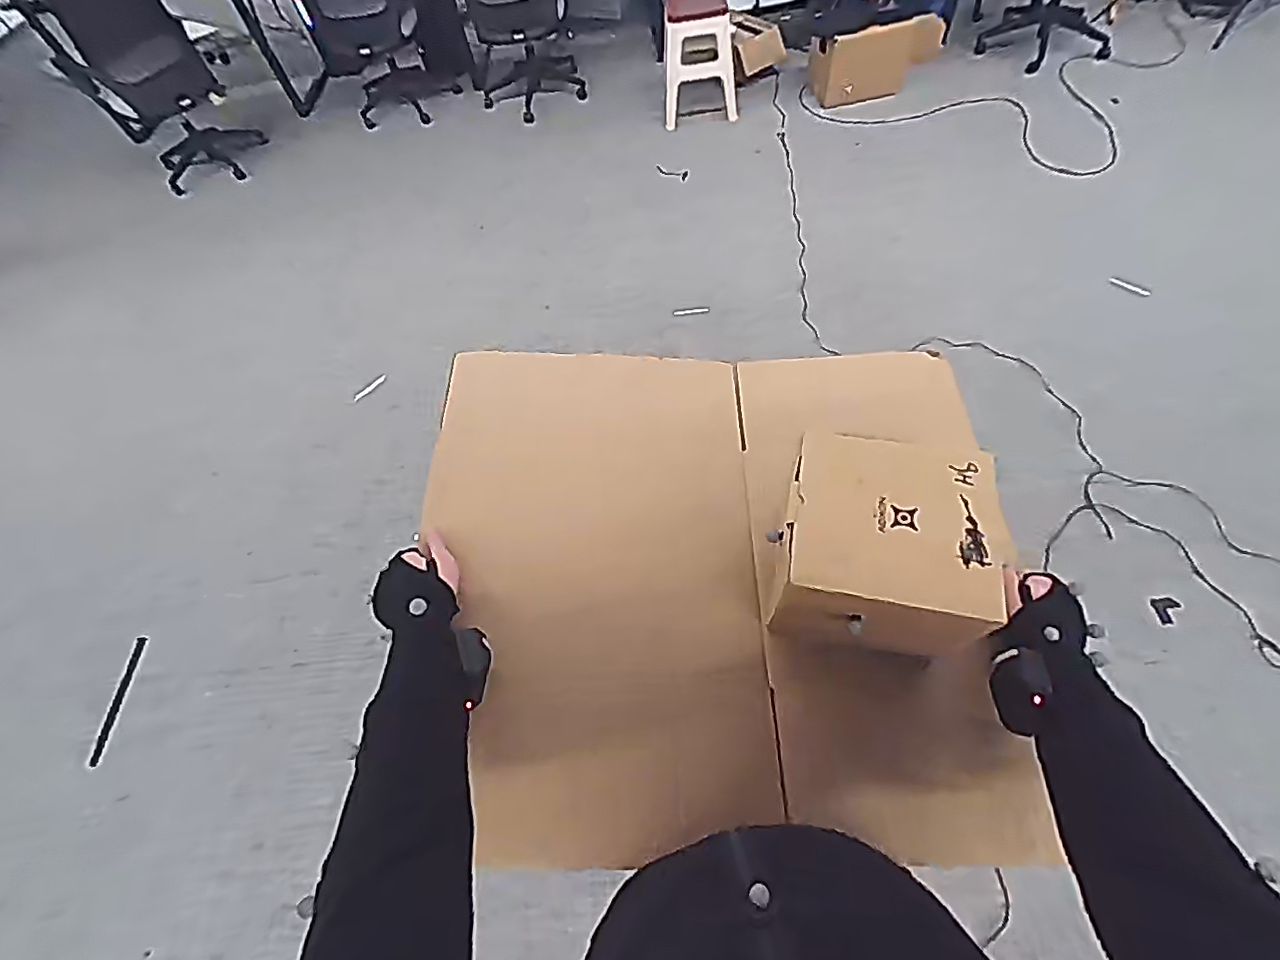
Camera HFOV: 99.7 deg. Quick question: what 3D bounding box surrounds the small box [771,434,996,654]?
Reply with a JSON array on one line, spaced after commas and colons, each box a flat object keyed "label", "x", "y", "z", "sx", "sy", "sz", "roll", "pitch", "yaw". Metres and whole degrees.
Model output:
[{"label": "small box", "x": 0.237, "y": 0.073, "z": 0.566, "sx": 0.179, "sy": 0.176, "sz": 0.168, "roll": 8, "pitch": 63, "yaw": 12}]
